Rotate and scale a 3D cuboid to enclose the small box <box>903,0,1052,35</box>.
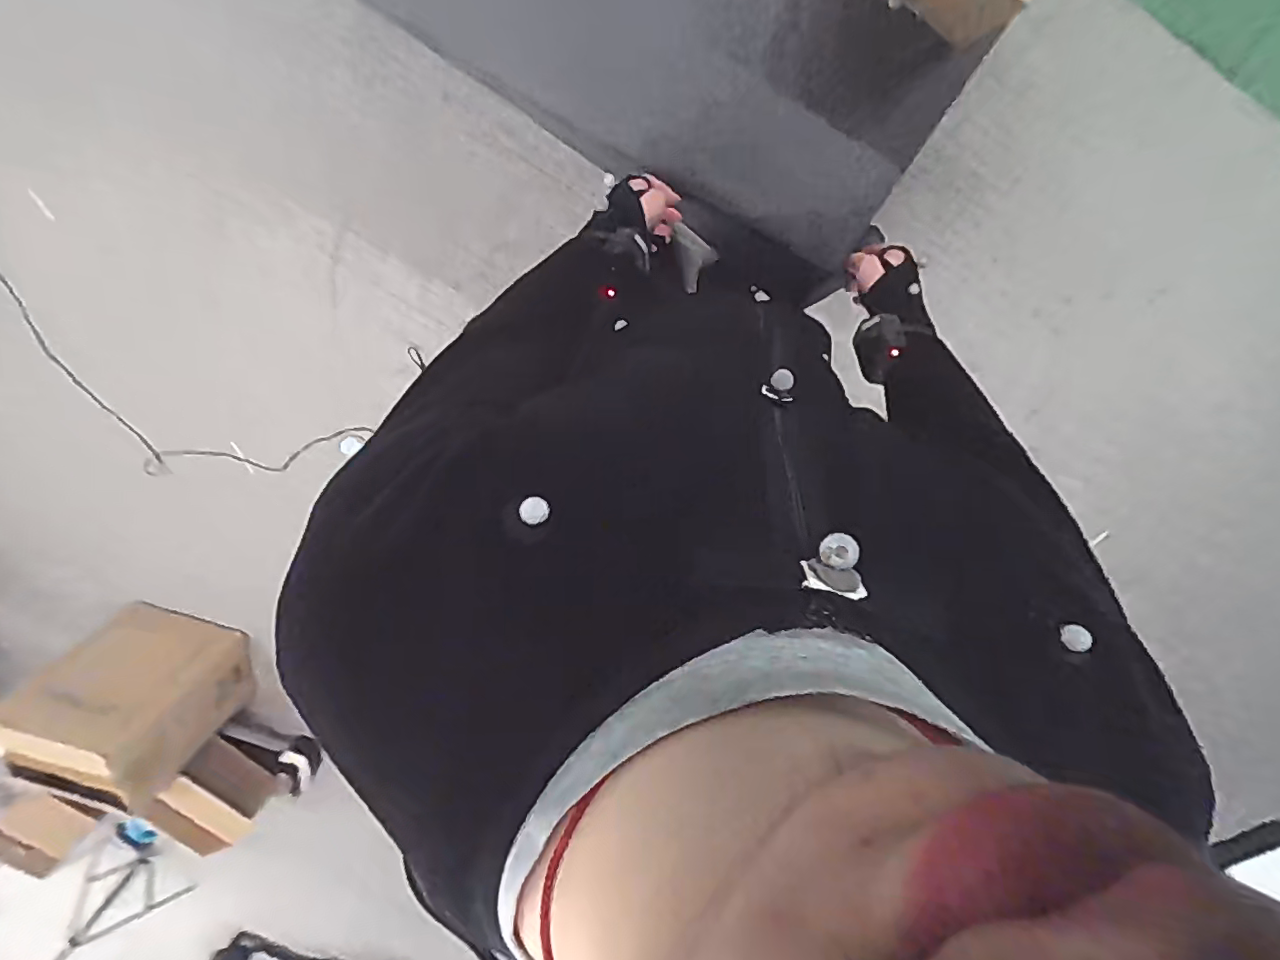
[{"bbox_3d":[0.295,-0.509,0.439,0.179,0.176,0.168,30,118,-9],"label":"small box"}]
